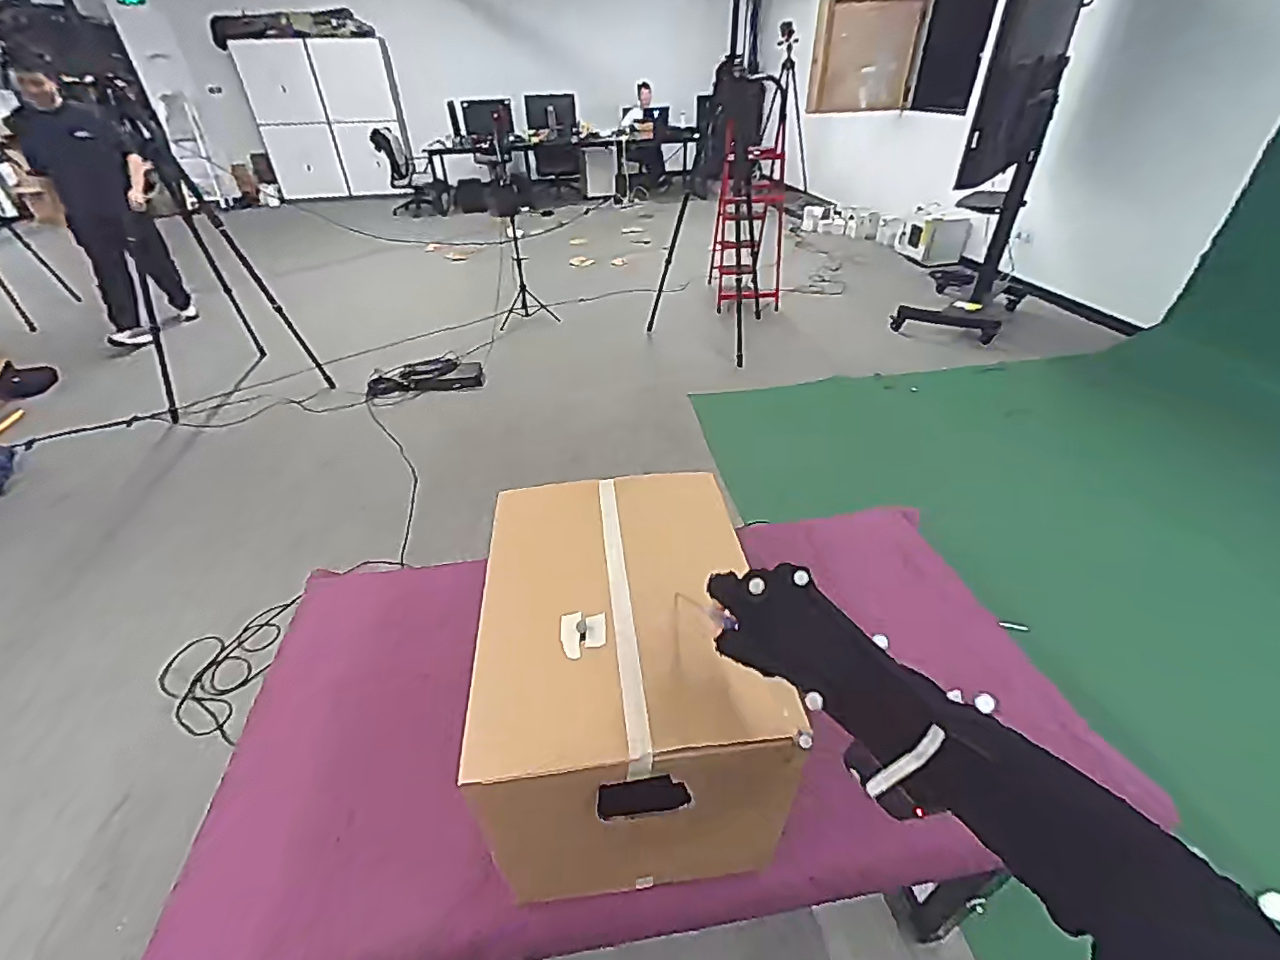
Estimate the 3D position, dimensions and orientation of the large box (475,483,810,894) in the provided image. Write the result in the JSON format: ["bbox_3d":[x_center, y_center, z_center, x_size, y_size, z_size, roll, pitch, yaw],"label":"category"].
[{"bbox_3d":[-0.020,0.252,0.728,0.320,0.320,0.408,-5,38,-5],"label":"large box"}]
